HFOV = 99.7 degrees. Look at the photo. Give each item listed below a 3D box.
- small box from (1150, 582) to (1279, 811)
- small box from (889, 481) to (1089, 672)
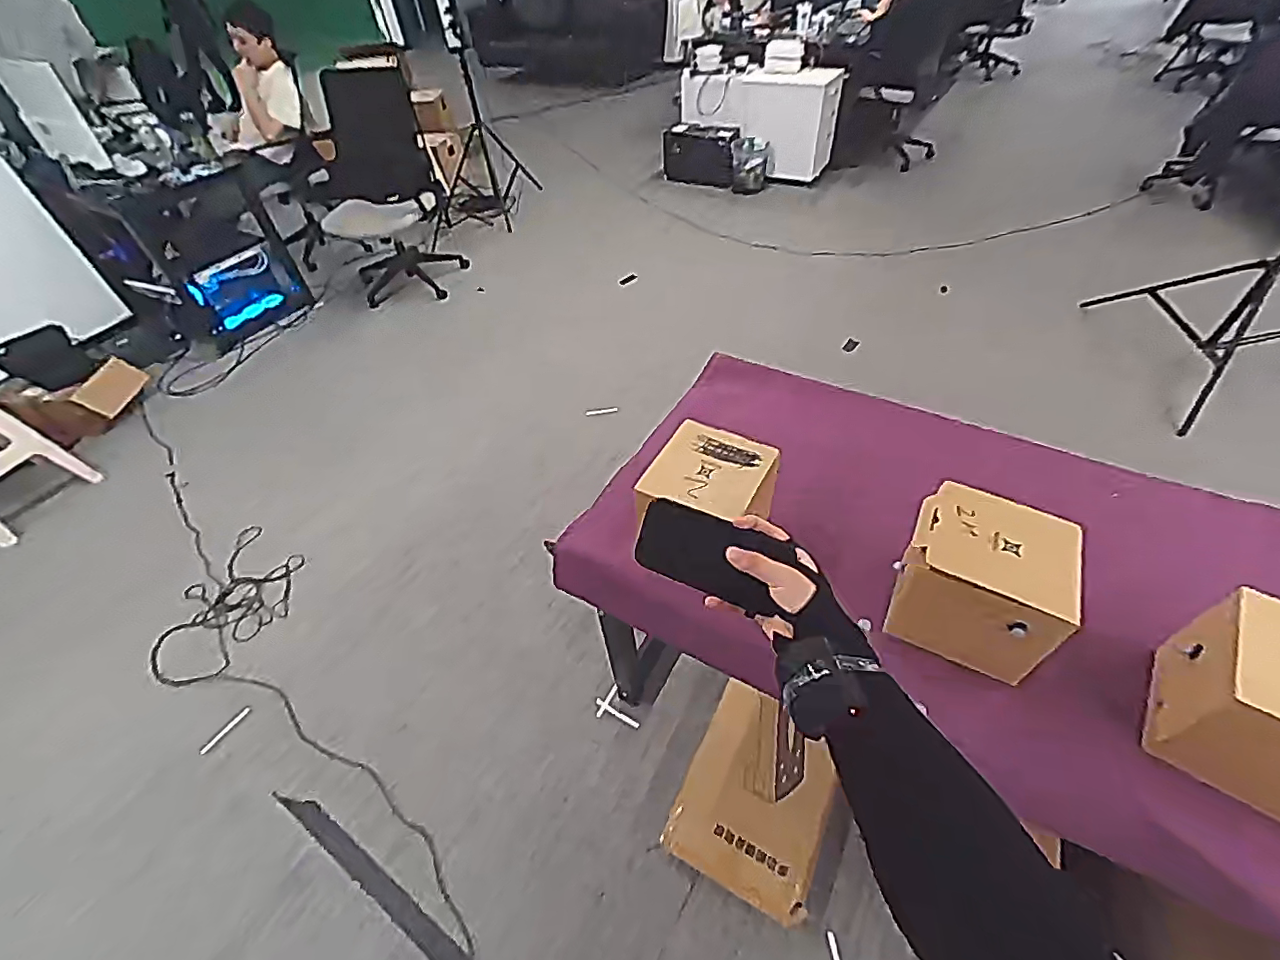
[{"bbox_3d":[0.735,0.256,0.612,0.179,0.176,0.168,27,55,26],"label":"small box"},{"bbox_3d":[0.471,0.136,0.745,0.179,0.176,0.168,20,50,22],"label":"small box"}]
